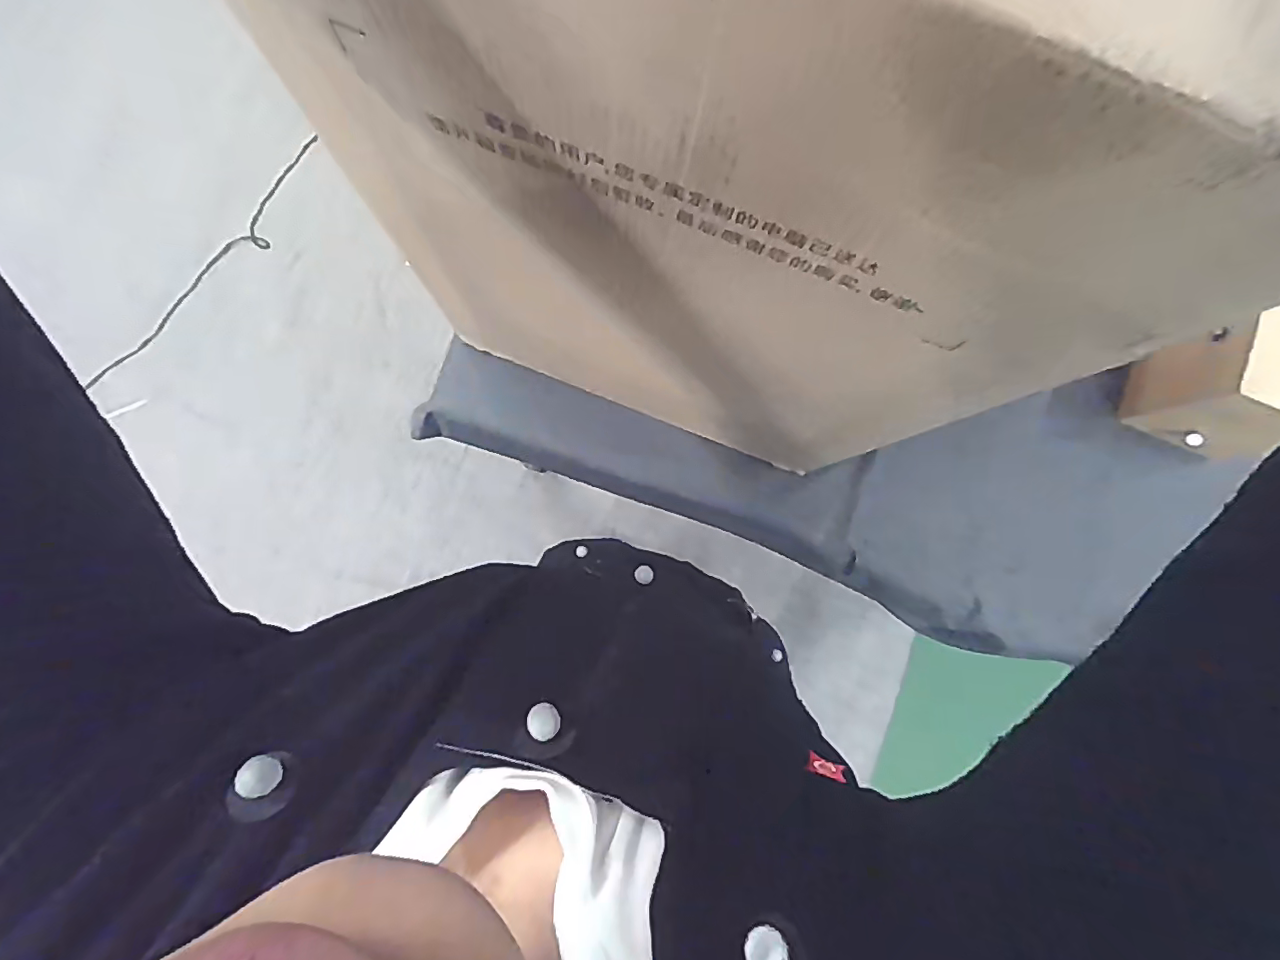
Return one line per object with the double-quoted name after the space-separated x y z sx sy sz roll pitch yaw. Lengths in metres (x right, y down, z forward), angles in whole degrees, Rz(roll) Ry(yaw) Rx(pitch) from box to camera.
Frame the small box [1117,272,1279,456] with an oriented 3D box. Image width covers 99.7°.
0.837 -0.151 0.765 0.168 0.176 0.179 23 84 -1 "small box"
